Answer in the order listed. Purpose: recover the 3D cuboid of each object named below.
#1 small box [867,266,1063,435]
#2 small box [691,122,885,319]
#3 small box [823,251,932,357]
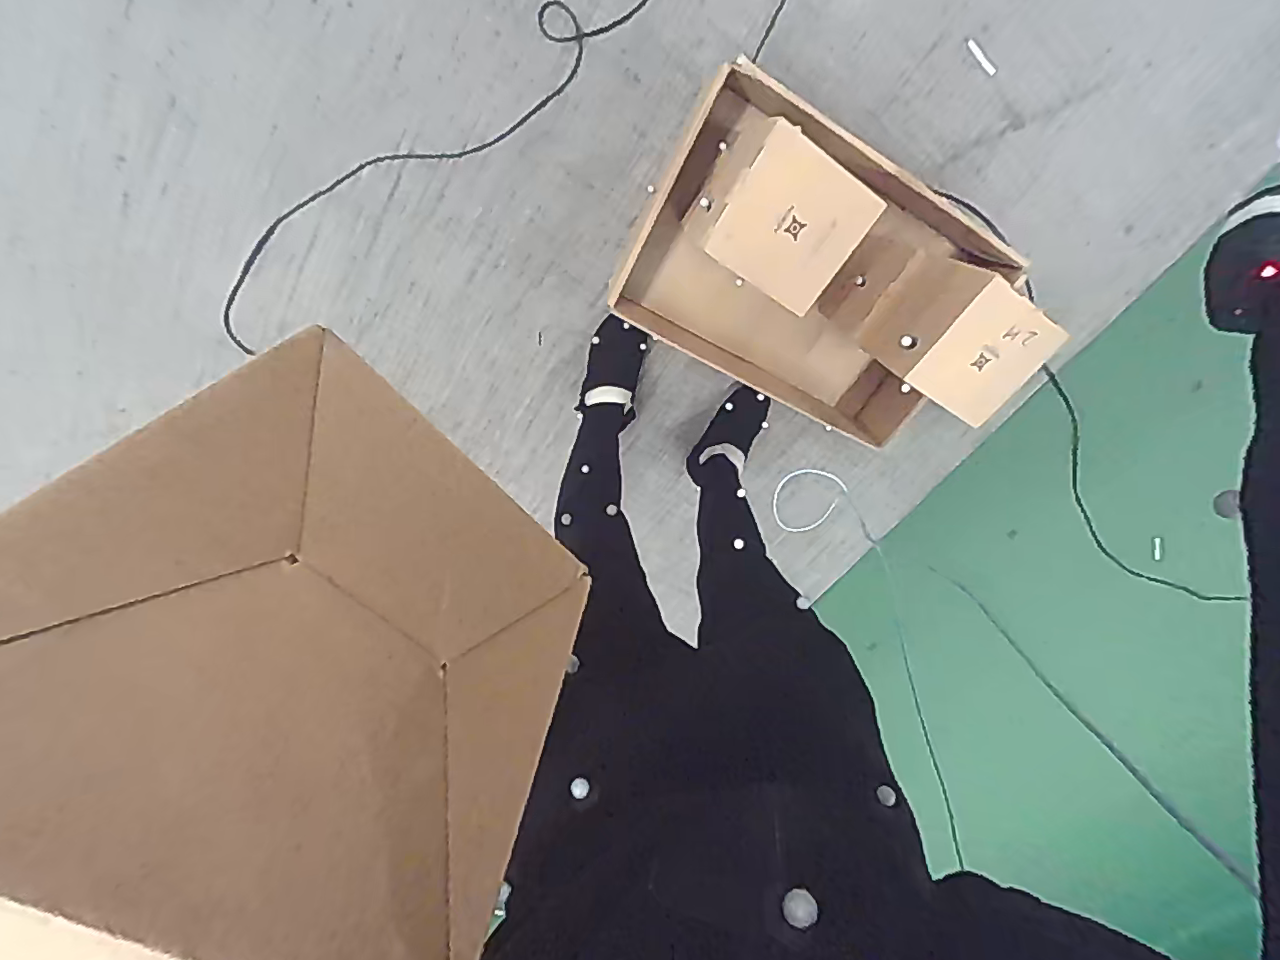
[{"bbox_3d":[0.489,-0.207,0.850,0.168,0.176,0.179,27,115,-19],"label":"small box"},{"bbox_3d":[0.188,-0.355,0.748,0.179,0.176,0.168,28,116,-19],"label":"small box"},{"bbox_3d":[0.469,-0.298,0.987,0.179,0.176,0.168,28,115,-17],"label":"small box"}]
